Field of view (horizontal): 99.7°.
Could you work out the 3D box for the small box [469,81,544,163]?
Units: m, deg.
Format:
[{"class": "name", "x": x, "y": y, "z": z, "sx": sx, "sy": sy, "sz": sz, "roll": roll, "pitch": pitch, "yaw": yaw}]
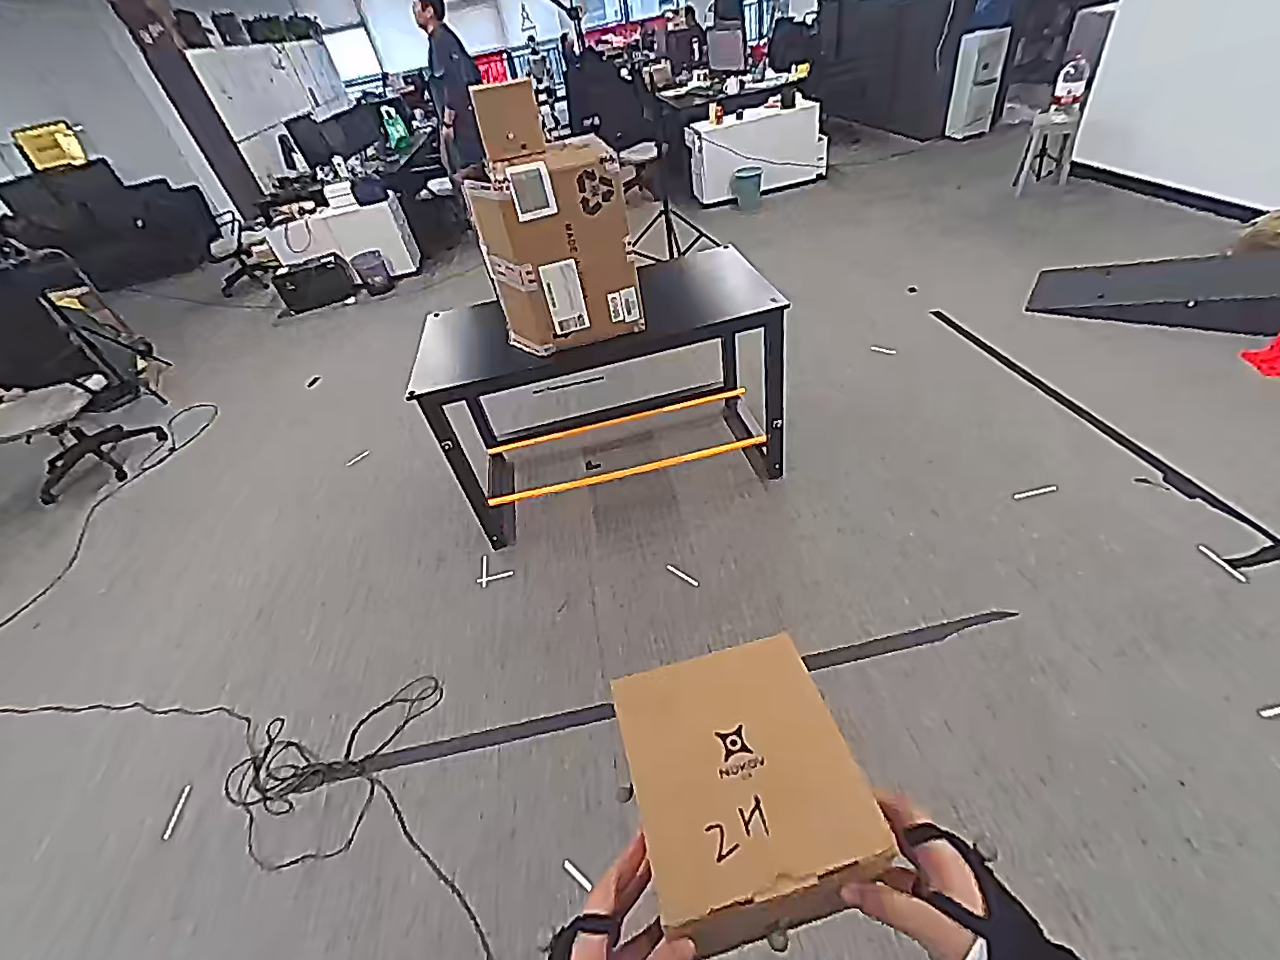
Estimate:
[{"class": "small box", "x": -0.378, "y": -1.015, "z": 1.535, "sx": 0.168, "sy": 0.176, "sz": 0.179, "roll": -16, "pitch": 39, "yaw": -7}]
